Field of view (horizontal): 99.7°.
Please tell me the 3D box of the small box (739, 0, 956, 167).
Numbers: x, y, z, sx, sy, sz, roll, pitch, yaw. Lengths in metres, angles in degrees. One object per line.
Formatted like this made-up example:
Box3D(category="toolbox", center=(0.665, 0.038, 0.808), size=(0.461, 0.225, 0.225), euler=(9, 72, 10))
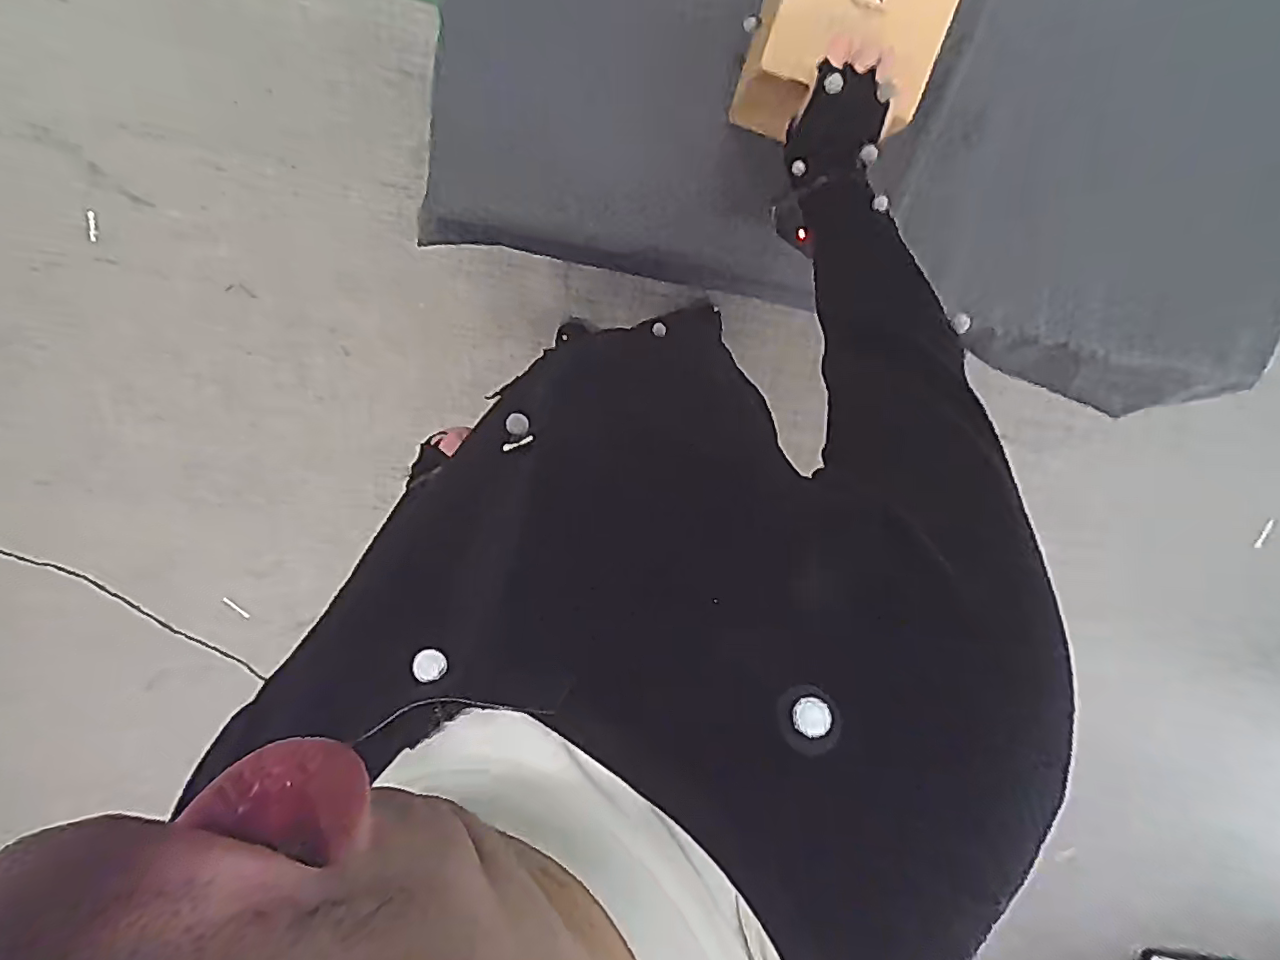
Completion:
Box3D(category="small box", center=(0.218, -0.477, 0.601), size=(0.168, 0.176, 0.179), euler=(13, 106, -5))
